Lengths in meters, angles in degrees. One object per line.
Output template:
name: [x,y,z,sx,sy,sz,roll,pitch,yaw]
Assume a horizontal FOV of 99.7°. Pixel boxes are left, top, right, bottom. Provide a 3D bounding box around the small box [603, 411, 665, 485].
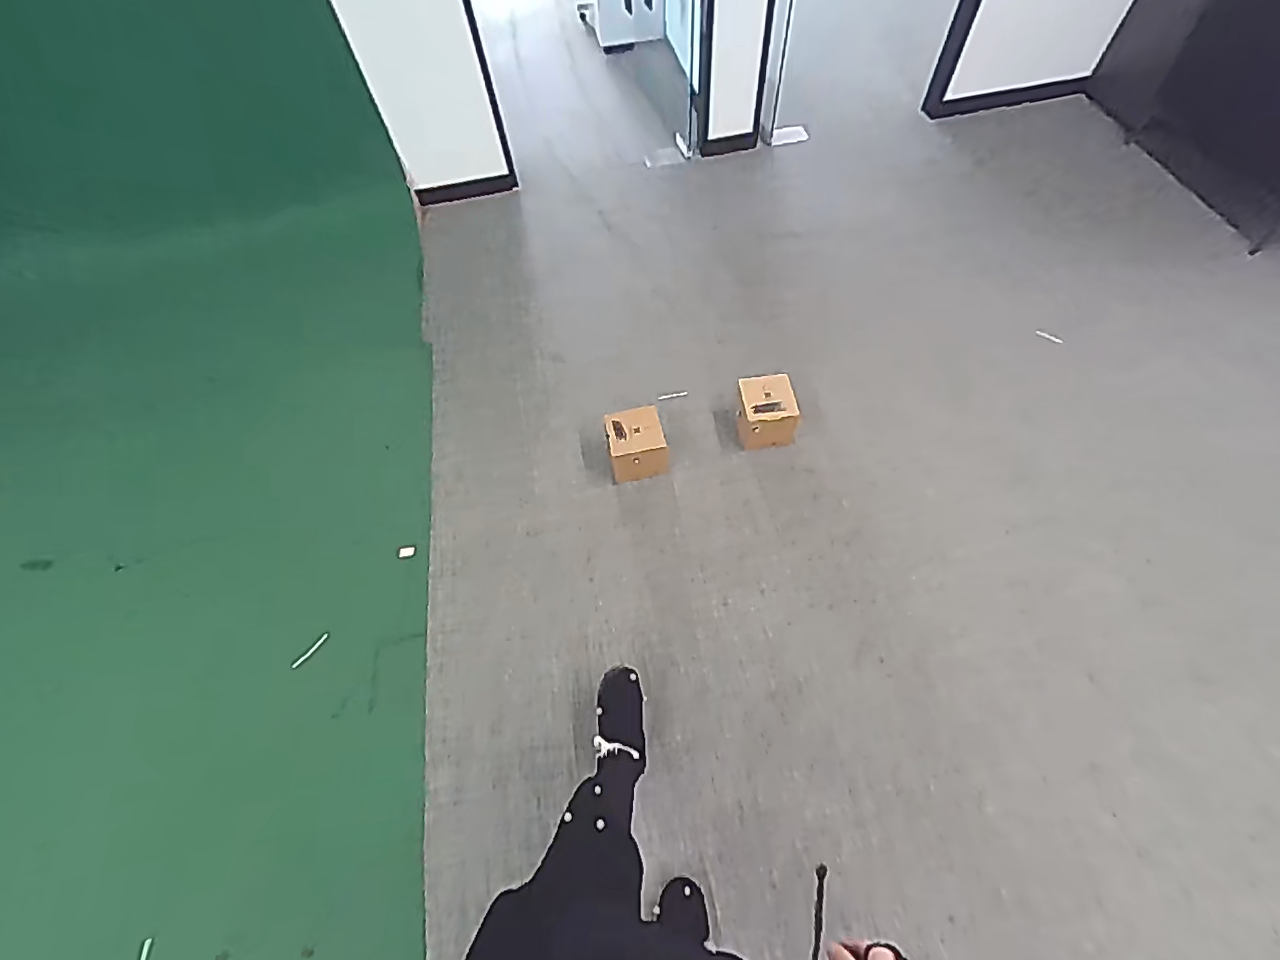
small box: [-0.018,-0.099,1.773,0.179,0.176,0.168,-11,60,-4]
